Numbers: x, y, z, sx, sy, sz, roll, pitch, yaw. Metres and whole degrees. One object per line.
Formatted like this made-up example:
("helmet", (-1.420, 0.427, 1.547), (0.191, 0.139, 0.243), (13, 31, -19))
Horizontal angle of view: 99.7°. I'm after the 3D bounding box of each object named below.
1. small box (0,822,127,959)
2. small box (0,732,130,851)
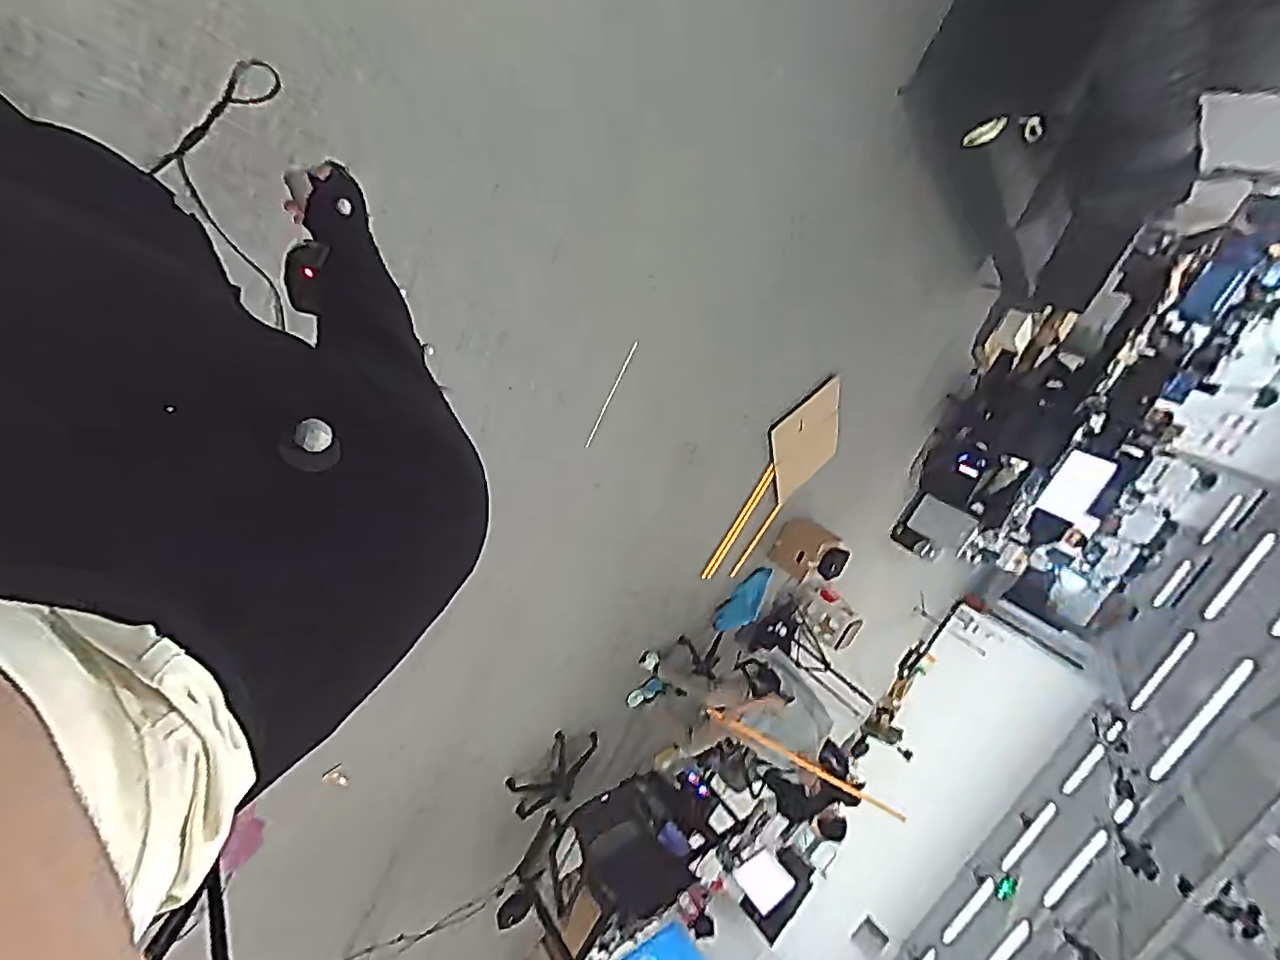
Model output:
("small box", (-0.775, 0.590, 0.689), (0.168, 0.176, 0.179), (4, 114, -46))
("small box", (-0.873, 0.511, 0.793), (0.168, 0.176, 0.179), (7, 113, -47))
